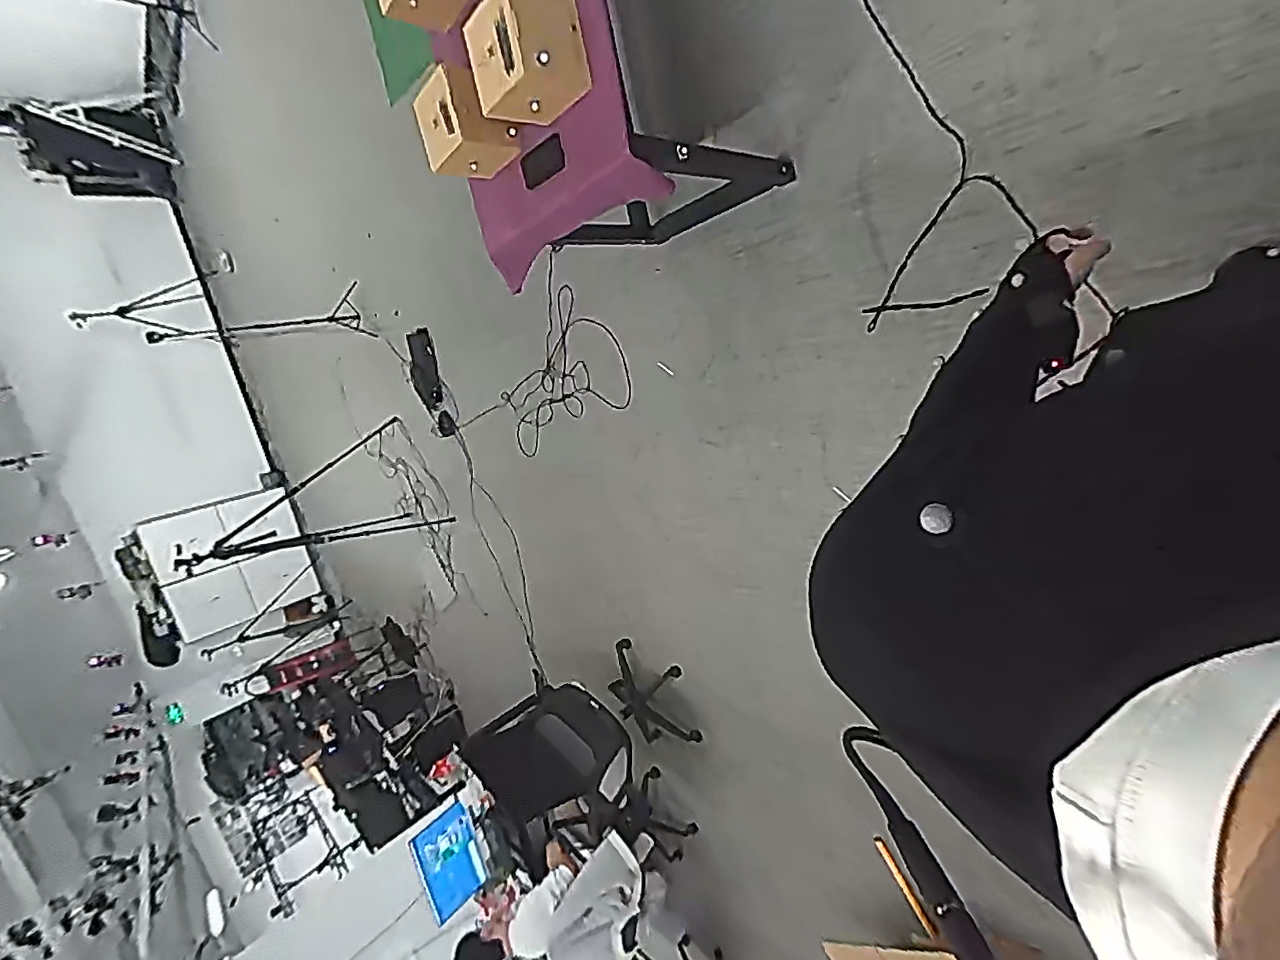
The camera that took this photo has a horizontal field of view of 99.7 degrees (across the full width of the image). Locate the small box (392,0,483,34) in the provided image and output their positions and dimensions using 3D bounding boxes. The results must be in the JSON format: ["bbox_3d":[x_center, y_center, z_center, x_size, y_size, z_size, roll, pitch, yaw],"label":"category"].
[{"bbox_3d":[-0.492,-1.212,1.286,0.179,0.176,0.168,-2,107,47],"label":"small box"}]

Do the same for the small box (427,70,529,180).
[{"bbox_3d":[-0.392,-0.864,1.334,0.179,0.176,0.168,-1,106,49],"label":"small box"}]
